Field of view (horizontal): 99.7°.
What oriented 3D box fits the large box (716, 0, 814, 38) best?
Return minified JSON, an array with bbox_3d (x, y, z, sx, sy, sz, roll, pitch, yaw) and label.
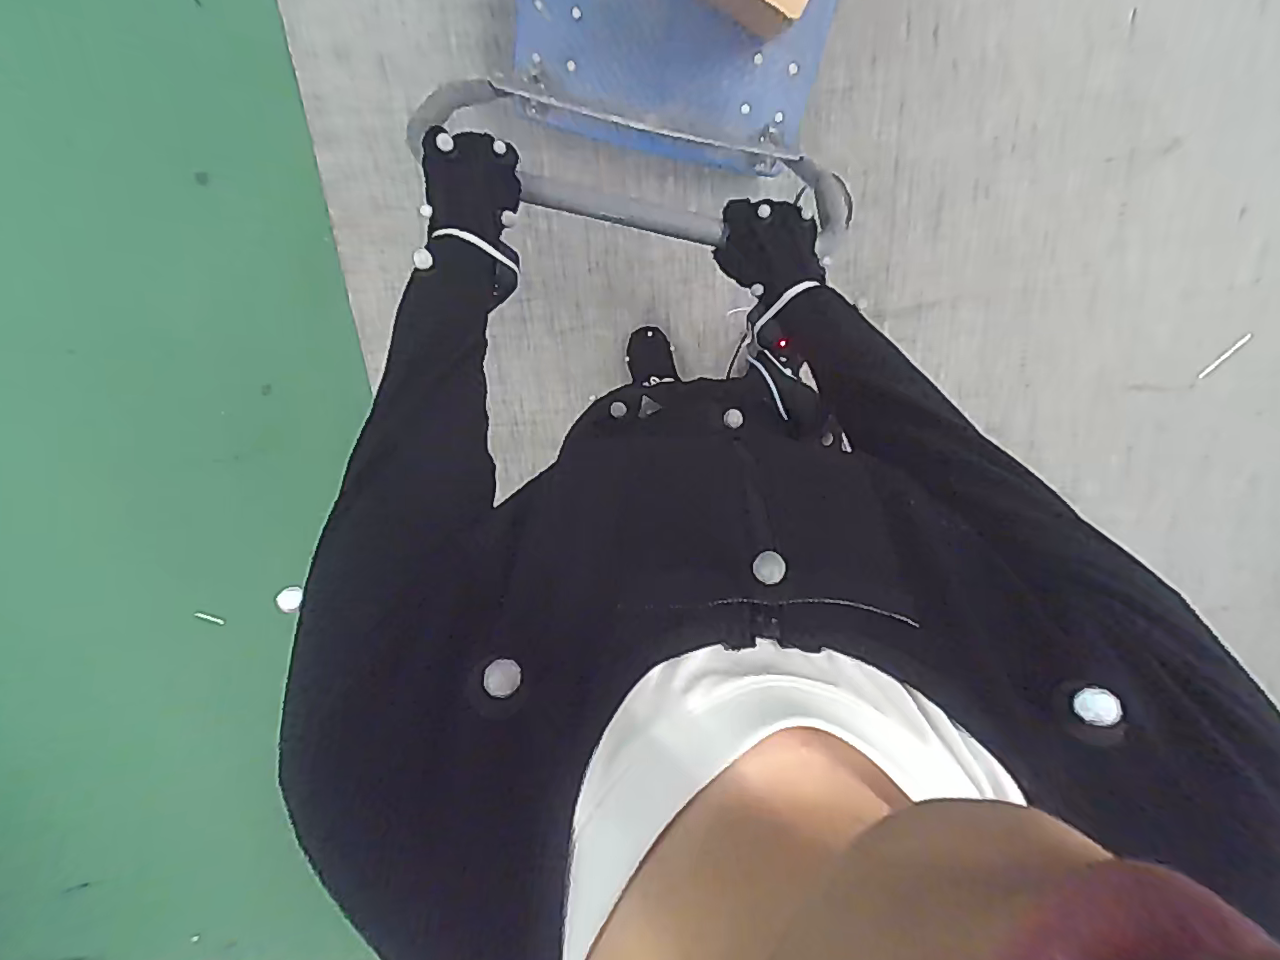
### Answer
[{"bbox_3d":[0.134,-0.921,0.770,0.408,0.320,0.320,25,123,-11],"label":"large box"}]
